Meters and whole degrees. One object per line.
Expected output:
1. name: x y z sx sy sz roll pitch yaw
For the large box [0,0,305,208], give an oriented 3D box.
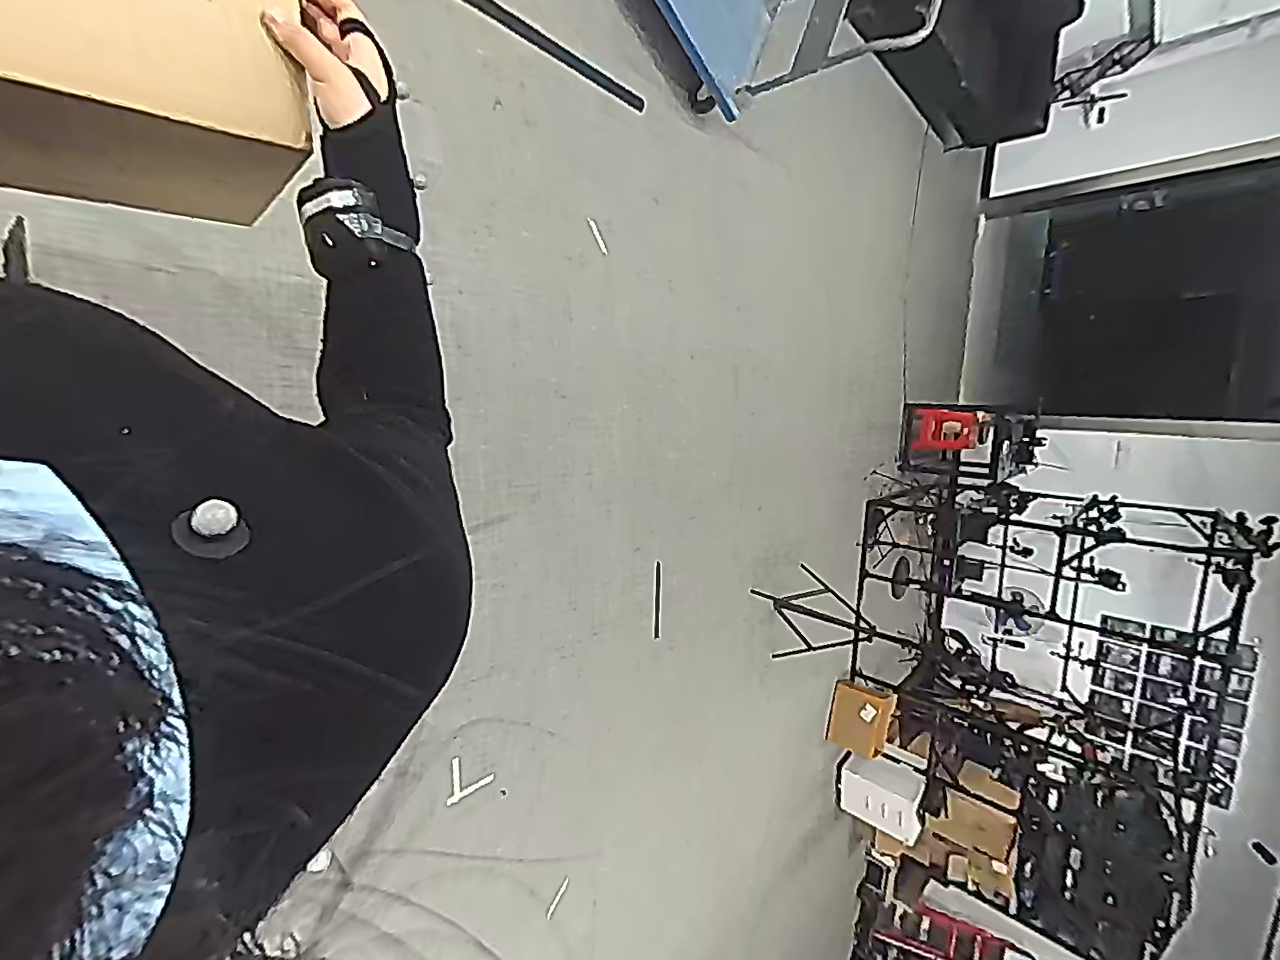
1. large box: -0.513 -0.419 0.383 0.408 0.320 0.320 -10 104 -41
